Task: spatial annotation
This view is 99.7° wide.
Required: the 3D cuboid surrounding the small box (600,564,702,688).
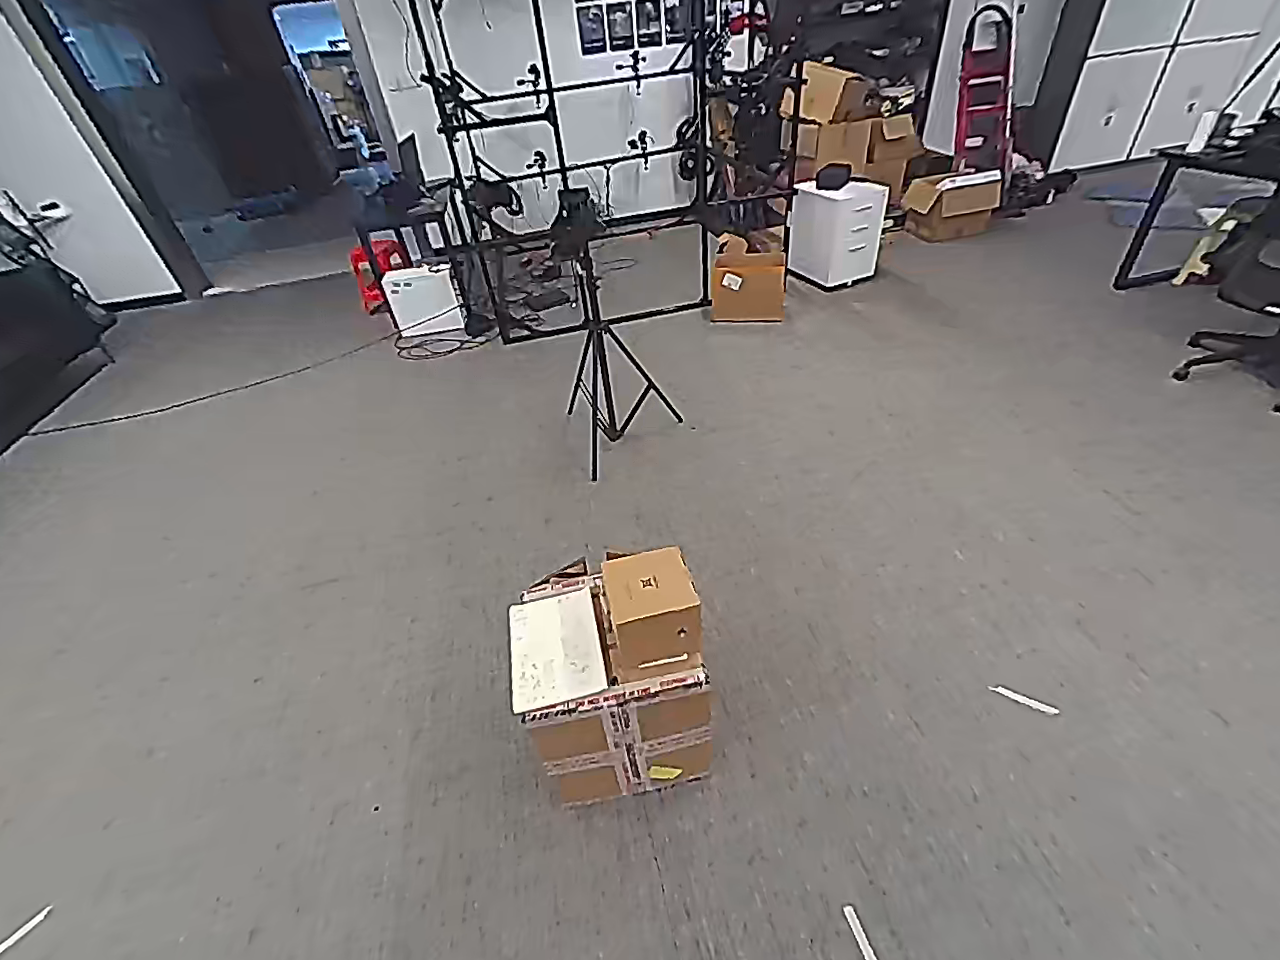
[{"bbox_3d":[0.022,0.309,1.141,0.179,0.176,0.168,-13,41,-8],"label":"small box"}]
